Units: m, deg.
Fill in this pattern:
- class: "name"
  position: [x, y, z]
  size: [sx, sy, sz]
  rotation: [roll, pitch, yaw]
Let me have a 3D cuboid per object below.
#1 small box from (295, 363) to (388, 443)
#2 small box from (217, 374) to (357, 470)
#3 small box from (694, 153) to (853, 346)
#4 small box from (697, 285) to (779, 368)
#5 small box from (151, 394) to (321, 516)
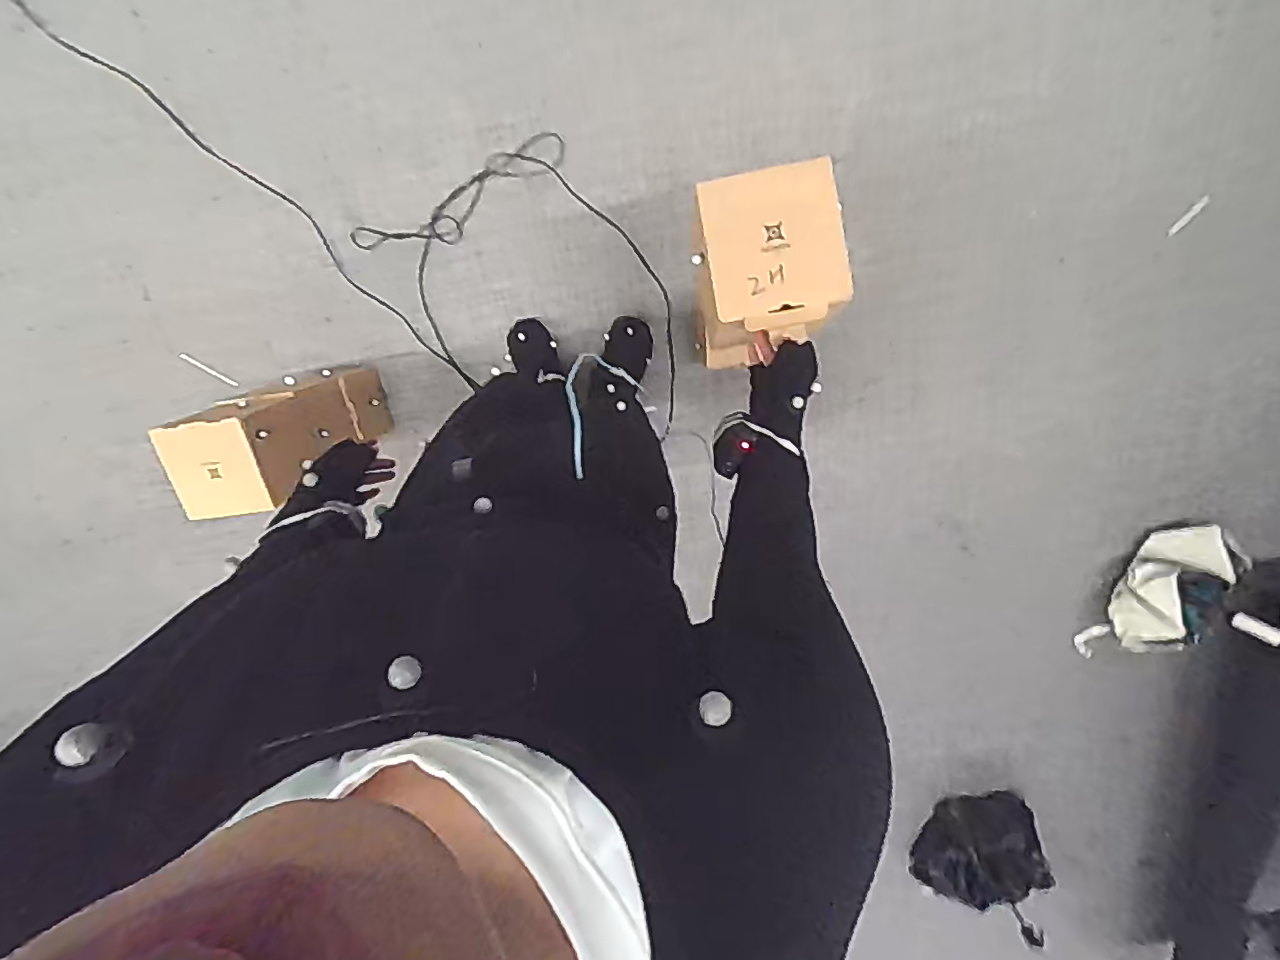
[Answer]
- class: "small box"
  position: [-0.743, -0.183, 1.324]
  size: [0.179, 0.176, 0.168]
  rotation: [-8, 111, 2]
- class: "small box"
  position: [-0.748, -0.121, 1.171]
  size: [0.168, 0.176, 0.179]
  rotation: [-7, 111, 2]
- class: "small box"
  position: [0.167, -0.296, 0.733]
  size: [0.168, 0.176, 0.179]
  rotation: [-10, 91, 5]
- class: "small box"
  position: [0.224, -0.366, 1.257]
  size: [0.168, 0.176, 0.179]
  rotation: [-4, 112, 0]
- class: "small box"
  position: [-0.745, -0.052, 1.023]
  size: [0.168, 0.176, 0.179]
  rotation: [-7, 111, 3]
